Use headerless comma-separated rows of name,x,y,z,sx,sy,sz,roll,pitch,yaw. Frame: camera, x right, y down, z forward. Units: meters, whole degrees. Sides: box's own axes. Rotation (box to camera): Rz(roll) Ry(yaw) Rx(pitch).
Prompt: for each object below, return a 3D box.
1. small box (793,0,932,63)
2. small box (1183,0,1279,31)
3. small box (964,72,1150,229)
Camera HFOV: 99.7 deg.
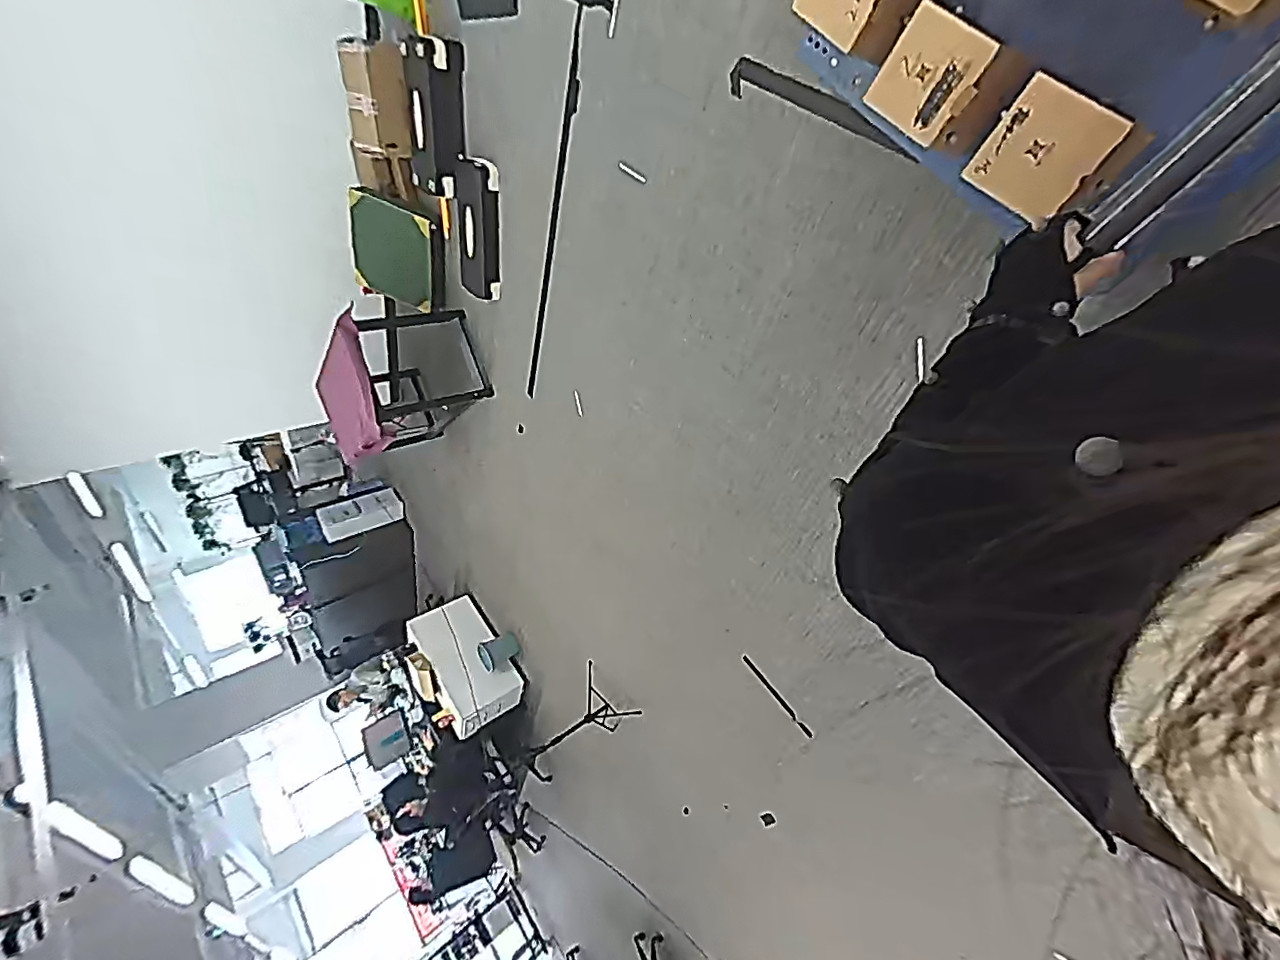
small box,0.444,-0.955,1.055,0.179,0.176,0.168,54,141,17
small box,0.820,-0.732,0.709,0.179,0.176,0.168,54,140,18
small box,0.713,-0.556,0.924,0.179,0.176,0.168,51,139,21
